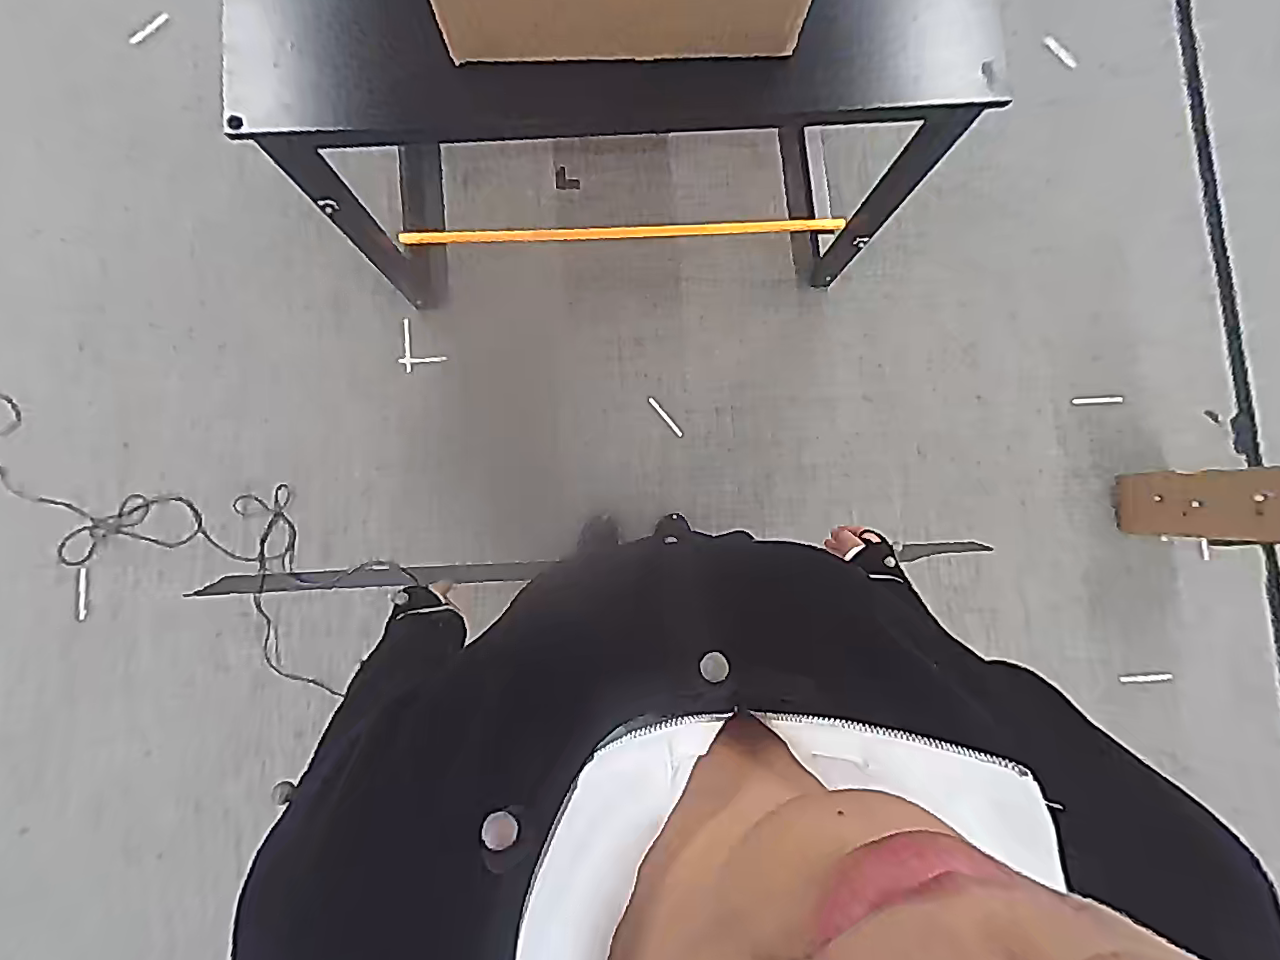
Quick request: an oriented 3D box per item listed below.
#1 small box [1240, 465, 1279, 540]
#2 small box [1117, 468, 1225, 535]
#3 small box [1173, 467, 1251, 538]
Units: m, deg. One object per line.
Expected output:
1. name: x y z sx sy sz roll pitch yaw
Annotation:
1. small box: 1.466 0.048 1.160 0.179 0.176 0.168 0 86 -1
2. small box: 1.463 0.061 1.487 0.168 0.176 0.179 0 87 -2
3. small box: 1.474 0.057 1.323 0.179 0.176 0.168 0 86 -2
